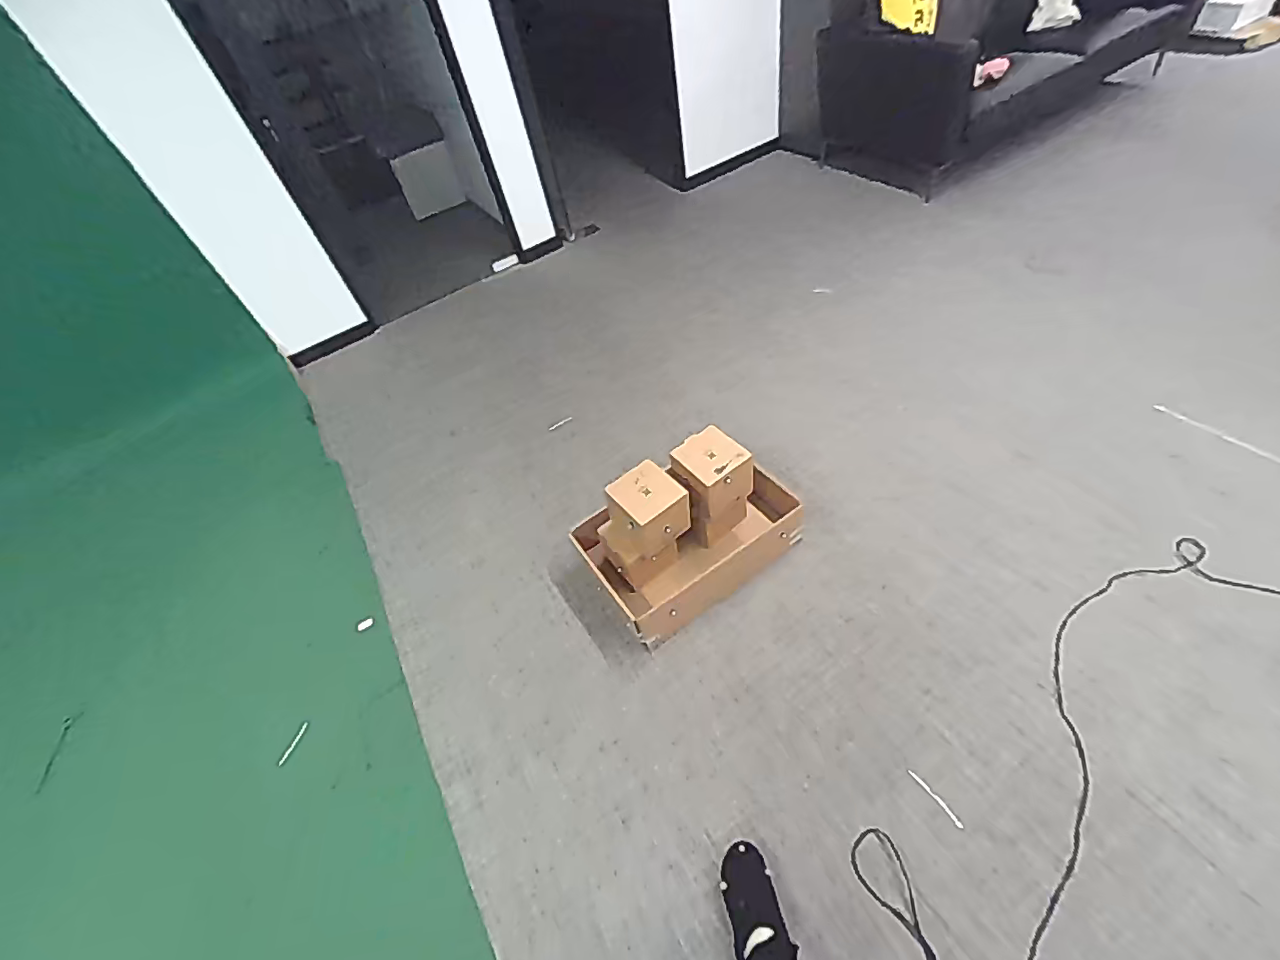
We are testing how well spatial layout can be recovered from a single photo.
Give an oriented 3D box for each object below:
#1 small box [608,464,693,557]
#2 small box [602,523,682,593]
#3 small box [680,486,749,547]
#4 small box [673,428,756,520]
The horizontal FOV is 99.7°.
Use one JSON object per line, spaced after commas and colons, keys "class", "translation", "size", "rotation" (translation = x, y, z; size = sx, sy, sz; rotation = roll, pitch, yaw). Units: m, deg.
{"class": "small box", "translation": [0.036, 0.093, 1.537], "size": [0.168, 0.176, 0.179], "rotation": [-35, 53, -19]}
{"class": "small box", "translation": [0.013, 0.213, 1.657], "size": [0.179, 0.176, 0.168], "rotation": [-34, 52, -18]}
{"class": "small box", "translation": [0.233, 0.081, 1.718], "size": [0.179, 0.176, 0.168], "rotation": [-38, 53, -18]}
{"class": "small box", "translation": [0.222, -0.015, 1.583], "size": [0.168, 0.176, 0.179], "rotation": [-36, 51, -15]}
